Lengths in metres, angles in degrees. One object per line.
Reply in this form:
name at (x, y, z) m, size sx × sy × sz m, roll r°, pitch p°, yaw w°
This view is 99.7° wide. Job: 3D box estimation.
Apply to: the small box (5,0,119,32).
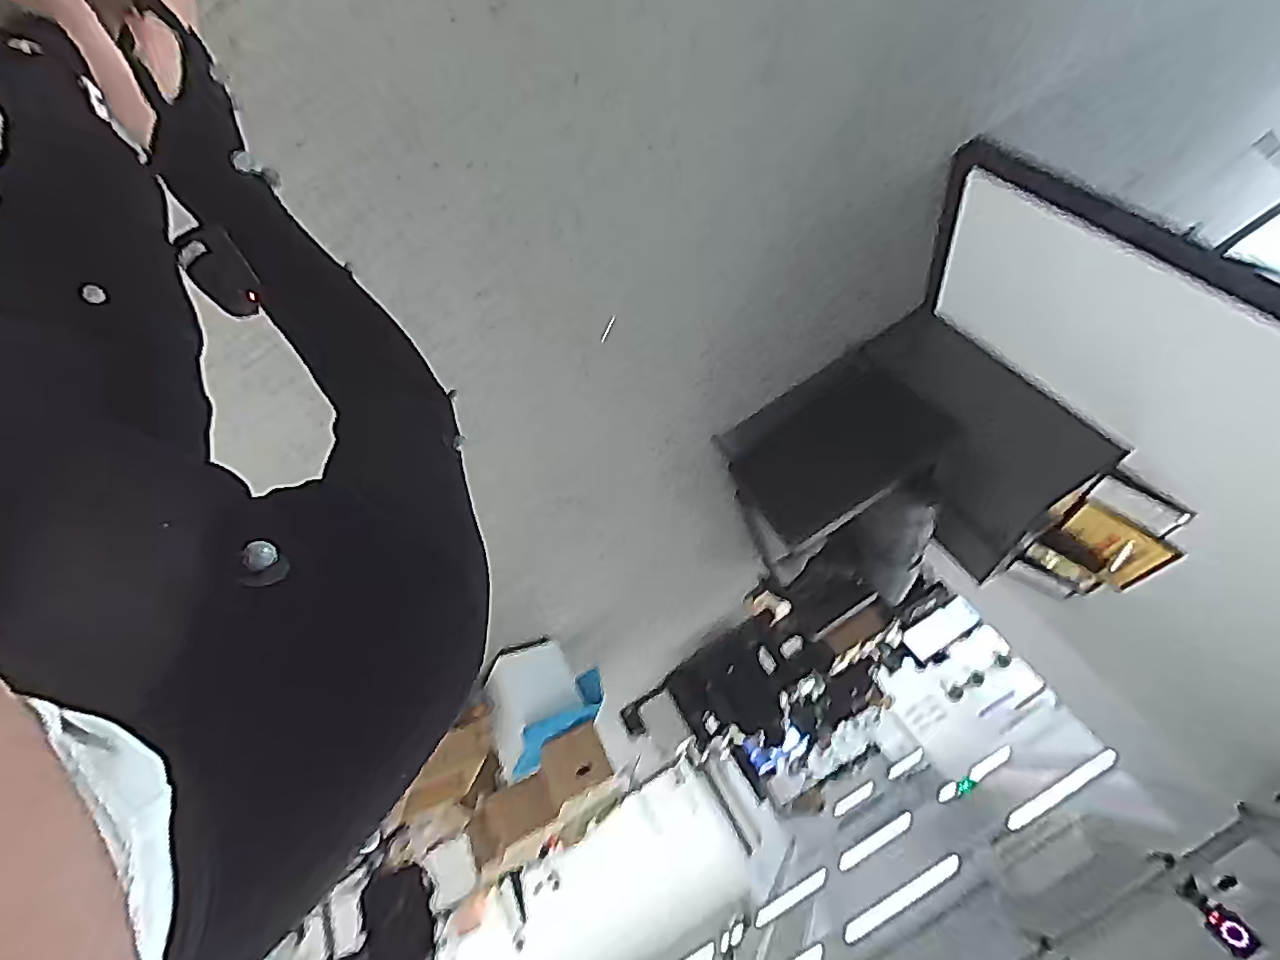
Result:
small box at (-0.459, -0.452, 0.355) m, size 0.179 × 0.176 × 0.168 m, roll 0°, pitch 100°, yaw -49°
